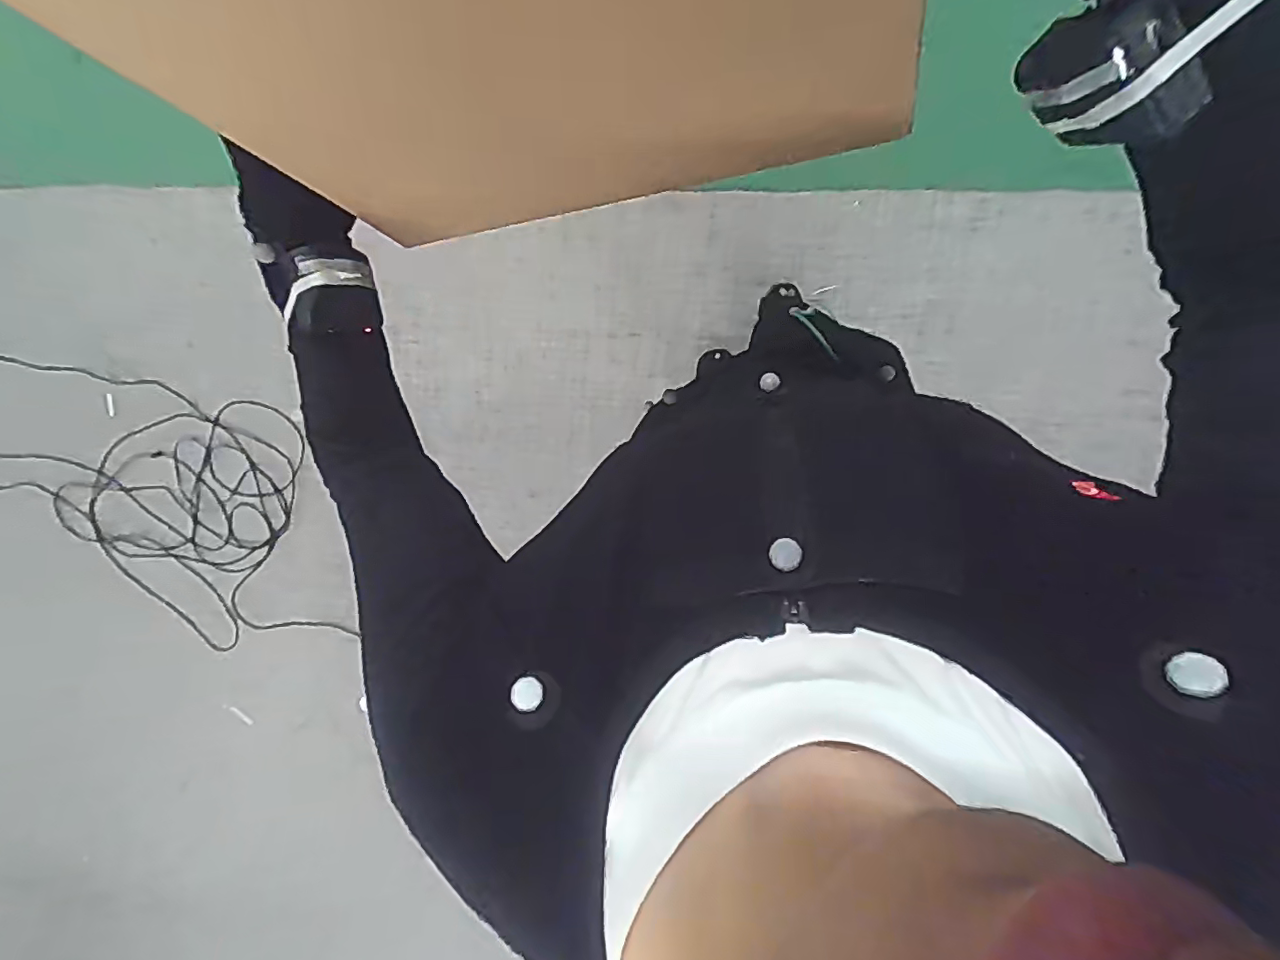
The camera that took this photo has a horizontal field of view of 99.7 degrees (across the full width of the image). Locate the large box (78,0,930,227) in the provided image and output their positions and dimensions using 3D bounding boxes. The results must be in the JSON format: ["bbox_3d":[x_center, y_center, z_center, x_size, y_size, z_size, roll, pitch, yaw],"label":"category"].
[{"bbox_3d":[-0.070,-0.381,0.274,0.408,0.320,0.320,0,86,22],"label":"large box"}]
